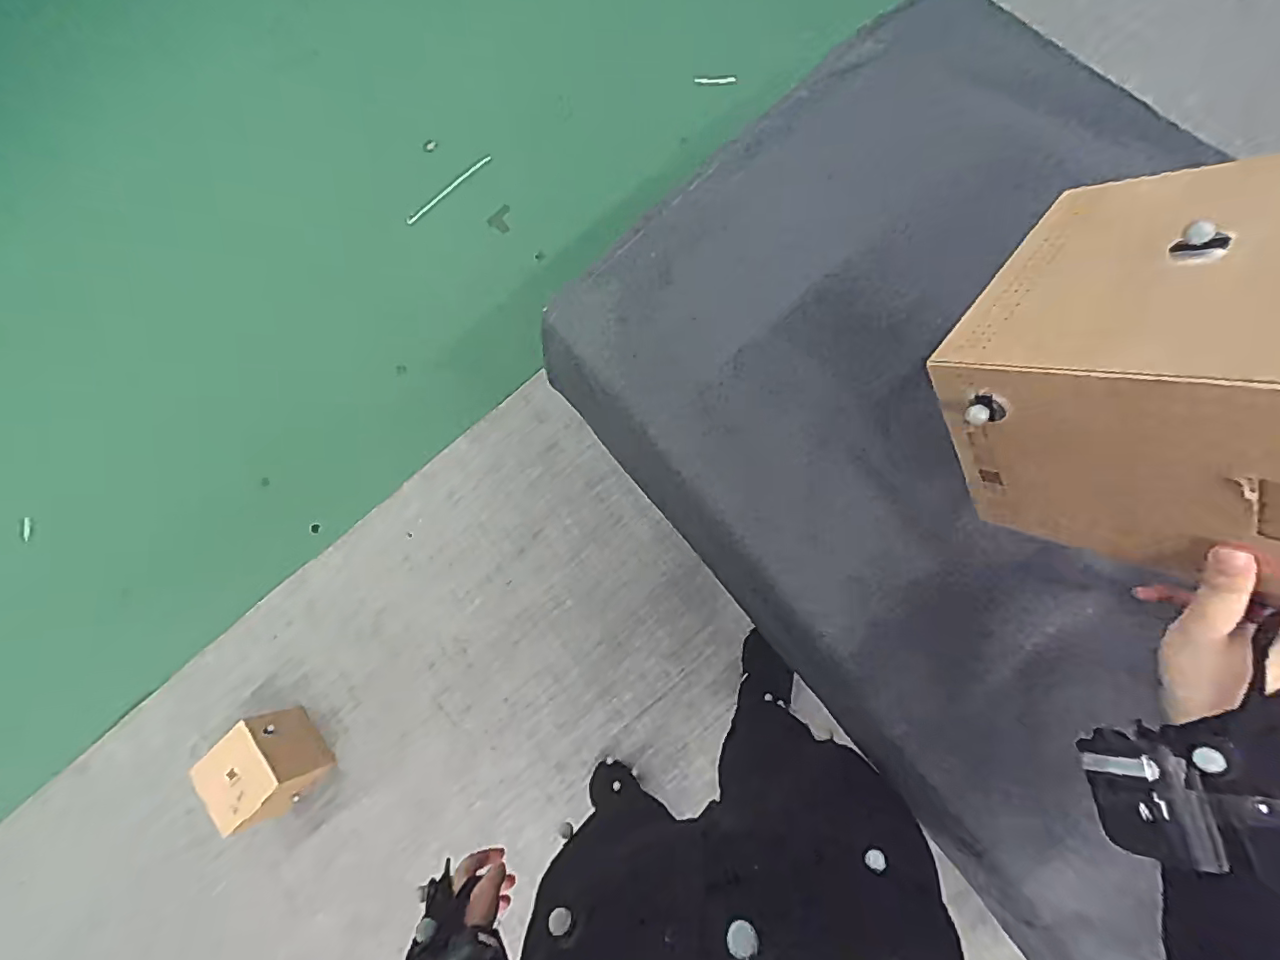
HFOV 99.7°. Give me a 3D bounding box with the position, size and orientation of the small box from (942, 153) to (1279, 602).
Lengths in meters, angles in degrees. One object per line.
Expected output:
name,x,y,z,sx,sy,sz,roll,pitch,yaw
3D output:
small box,0.311,-0.065,0.331,0.179,0.168,0.176,-49,34,-13

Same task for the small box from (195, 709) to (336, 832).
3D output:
small box,-0.853,0.652,1.244,0.168,0.176,0.179,-44,73,-1
